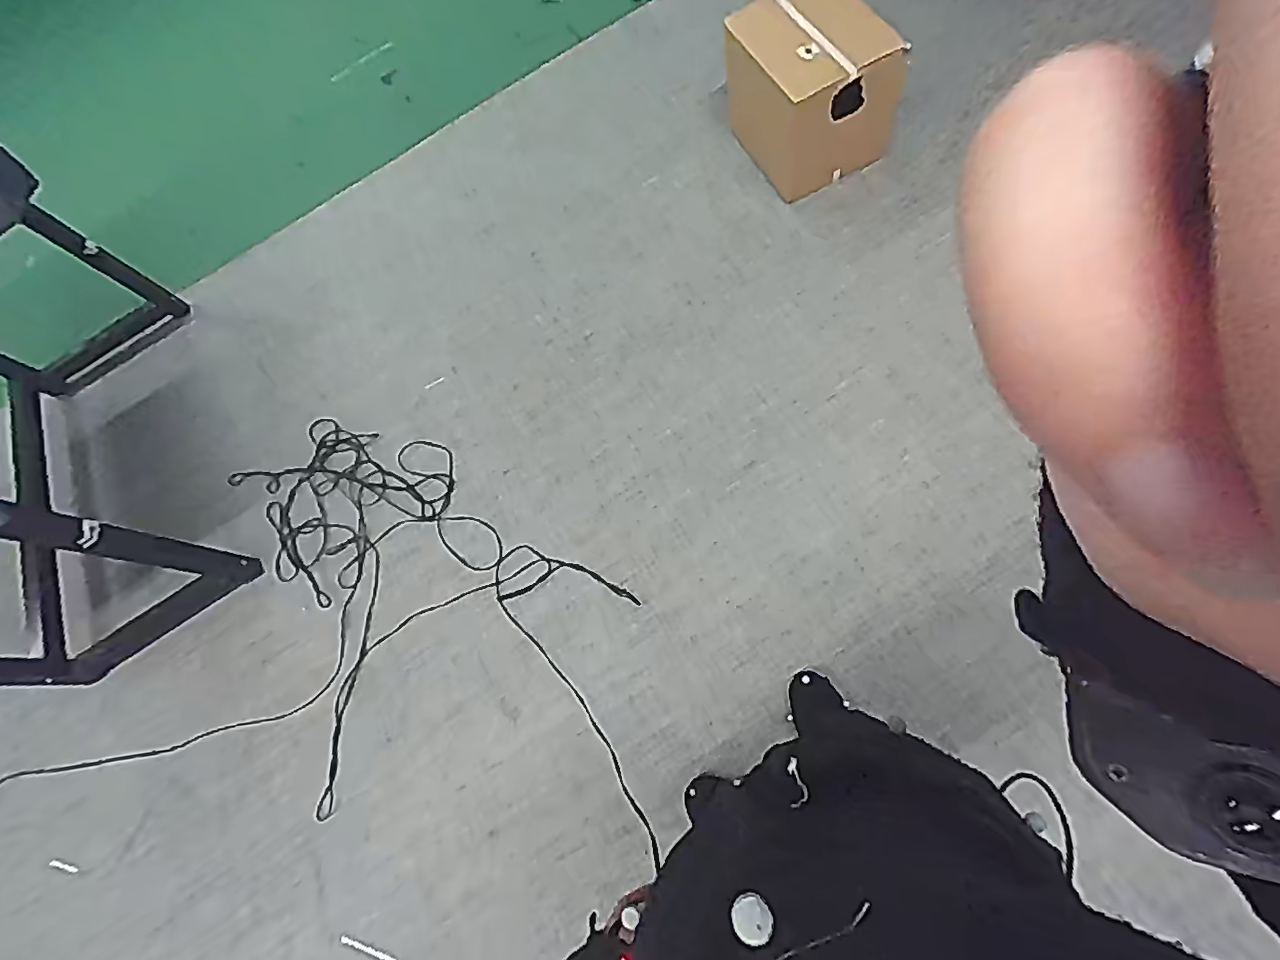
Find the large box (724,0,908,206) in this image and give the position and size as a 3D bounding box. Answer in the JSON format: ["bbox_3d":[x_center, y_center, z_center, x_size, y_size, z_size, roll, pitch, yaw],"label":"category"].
[{"bbox_3d":[0.469,-1.087,1.540,0.320,0.320,0.408,-27,68,2],"label":"large box"}]
